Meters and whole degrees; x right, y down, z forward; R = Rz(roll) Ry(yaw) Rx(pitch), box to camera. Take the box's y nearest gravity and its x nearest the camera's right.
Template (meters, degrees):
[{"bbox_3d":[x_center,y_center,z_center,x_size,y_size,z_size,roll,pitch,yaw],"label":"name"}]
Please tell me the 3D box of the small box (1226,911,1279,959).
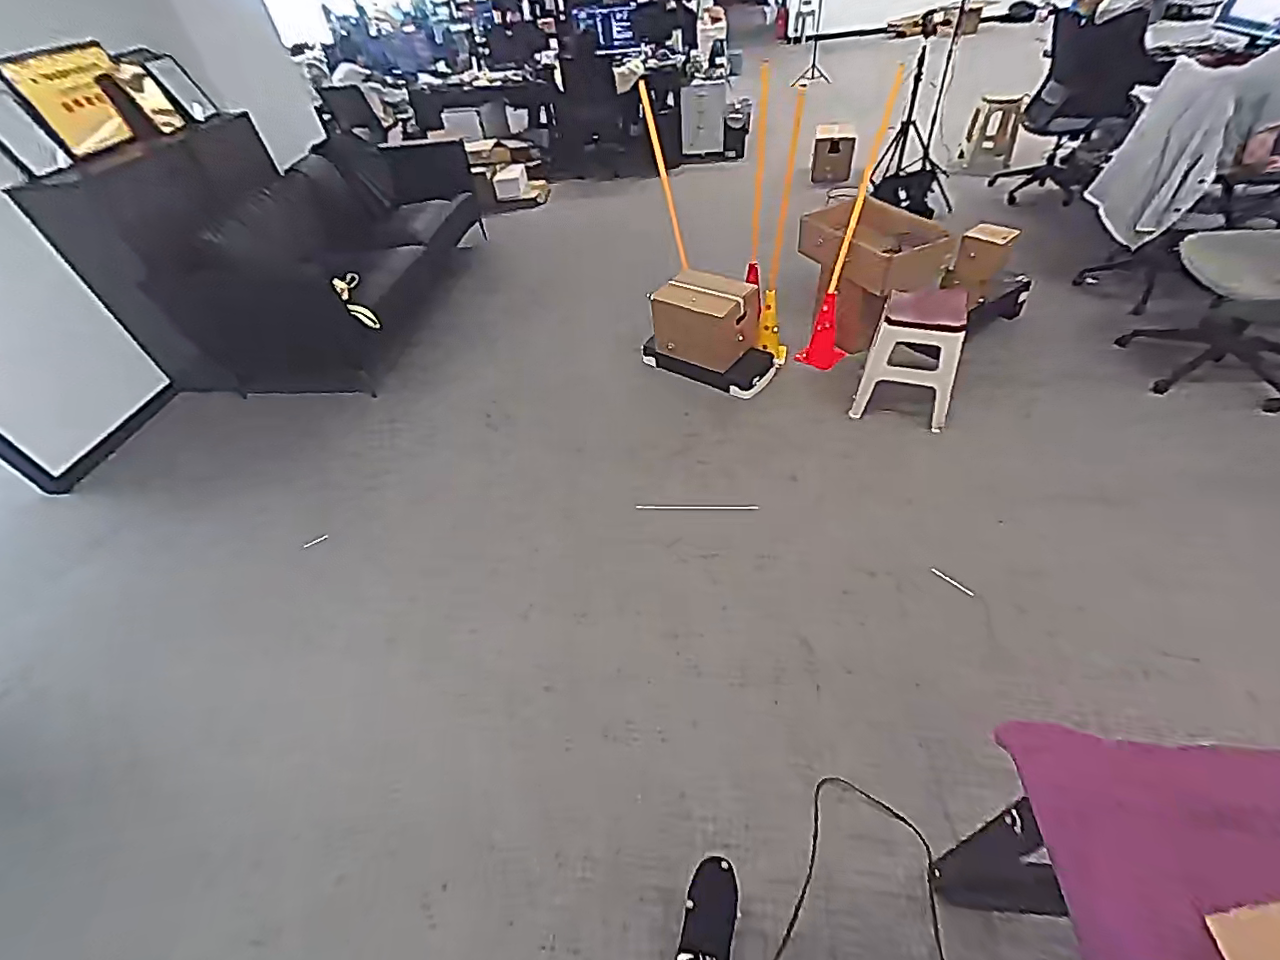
[{"bbox_3d":[0.734,0.523,0.512,0.179,0.176,0.168,-1,45,7],"label":"small box"}]
